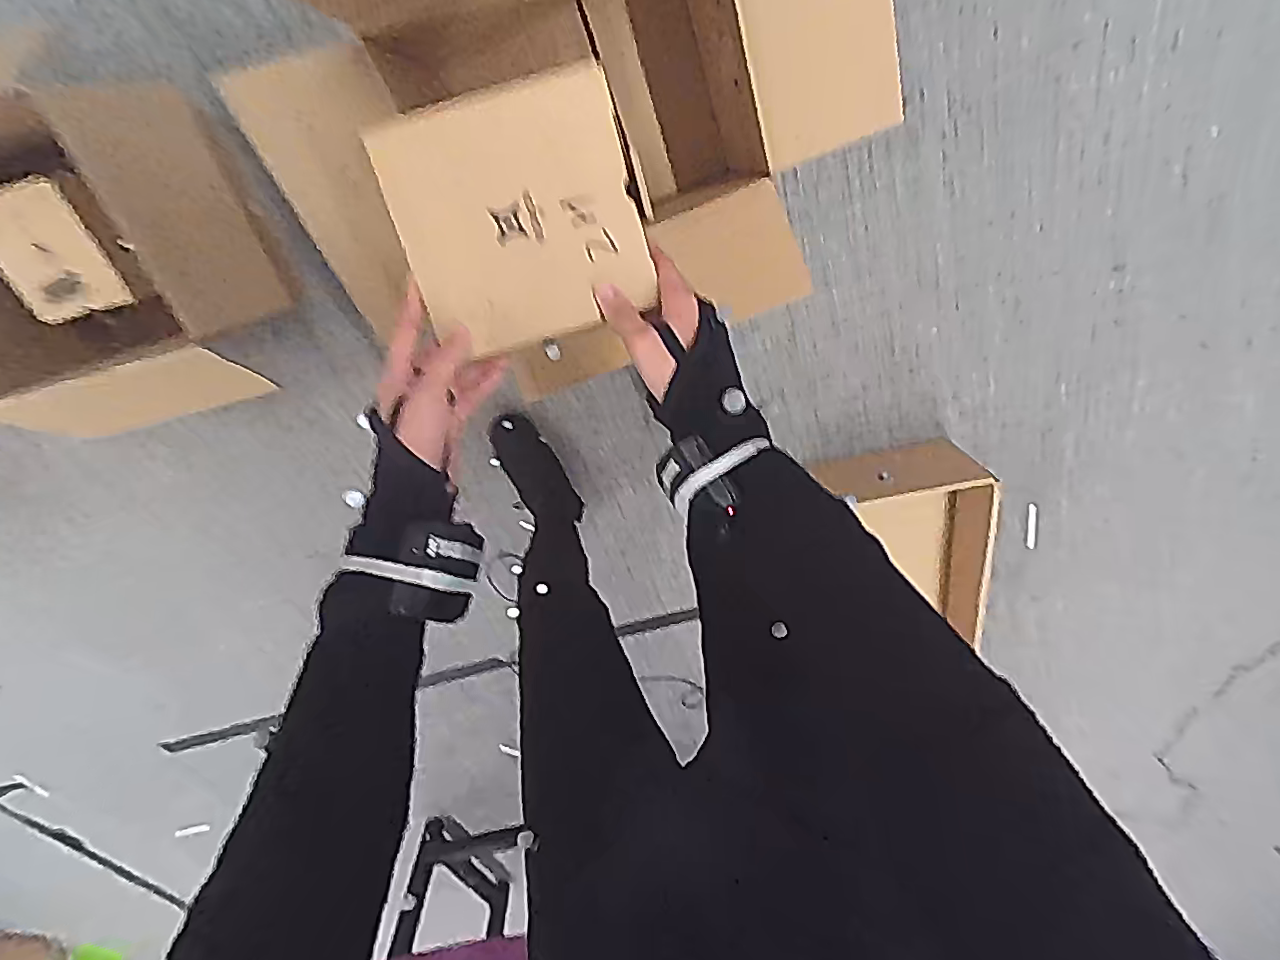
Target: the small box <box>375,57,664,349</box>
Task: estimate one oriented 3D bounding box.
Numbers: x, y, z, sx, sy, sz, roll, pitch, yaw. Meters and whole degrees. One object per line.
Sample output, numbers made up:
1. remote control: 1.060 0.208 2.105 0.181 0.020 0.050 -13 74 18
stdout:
1. small box: -0.087 -0.214 0.471 0.179 0.176 0.168 -16 105 0
